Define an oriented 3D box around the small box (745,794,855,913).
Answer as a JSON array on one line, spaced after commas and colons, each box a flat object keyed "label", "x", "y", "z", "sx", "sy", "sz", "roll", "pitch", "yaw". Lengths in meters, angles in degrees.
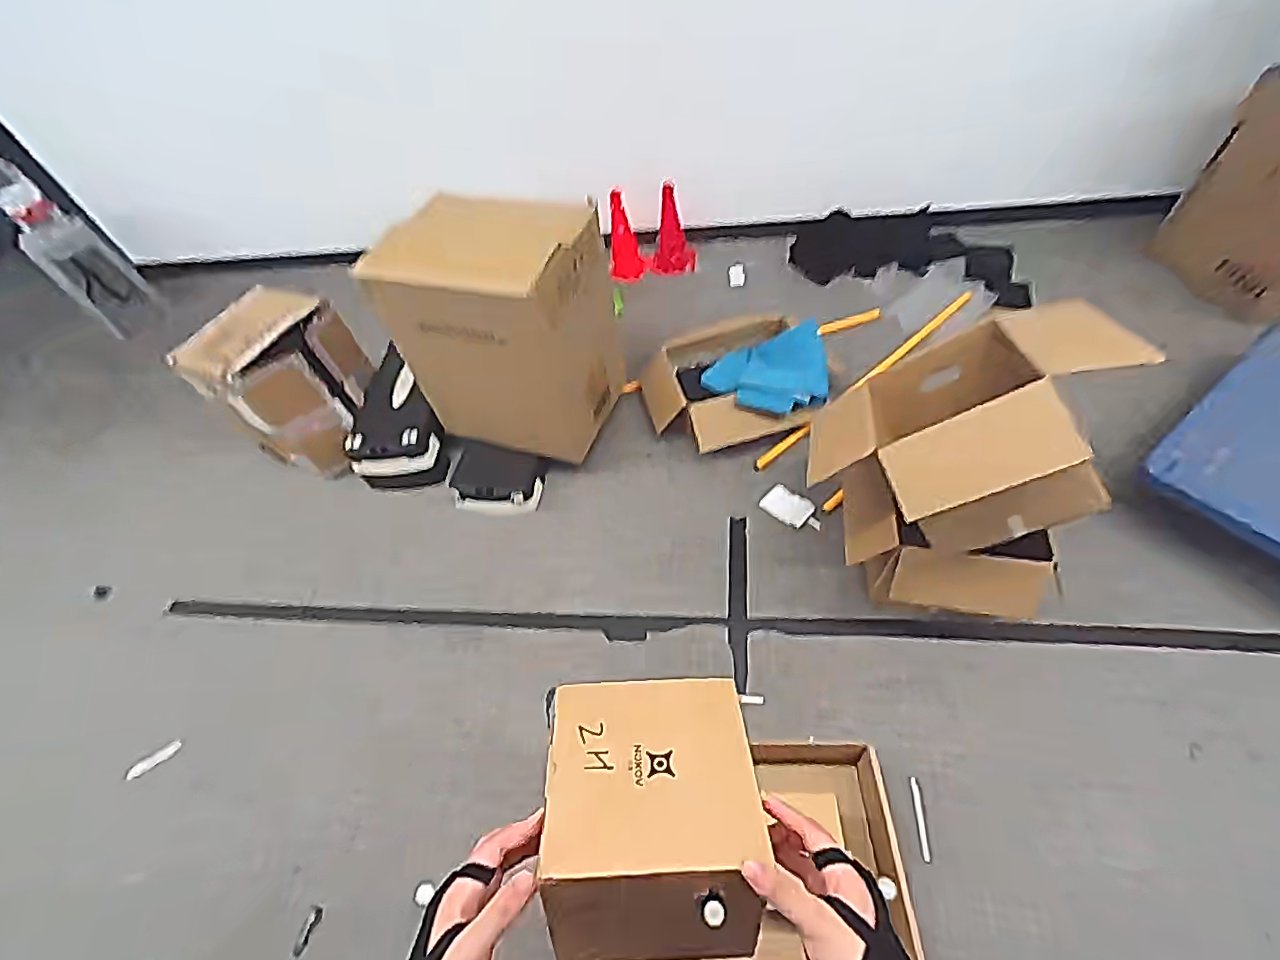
[{"label": "small box", "x": 0.294, "y": 0.714, "z": 1.034, "sx": 0.168, "sy": 0.176, "sz": 0.179, "roll": -4, "pitch": 52, "yaw": 6}]
